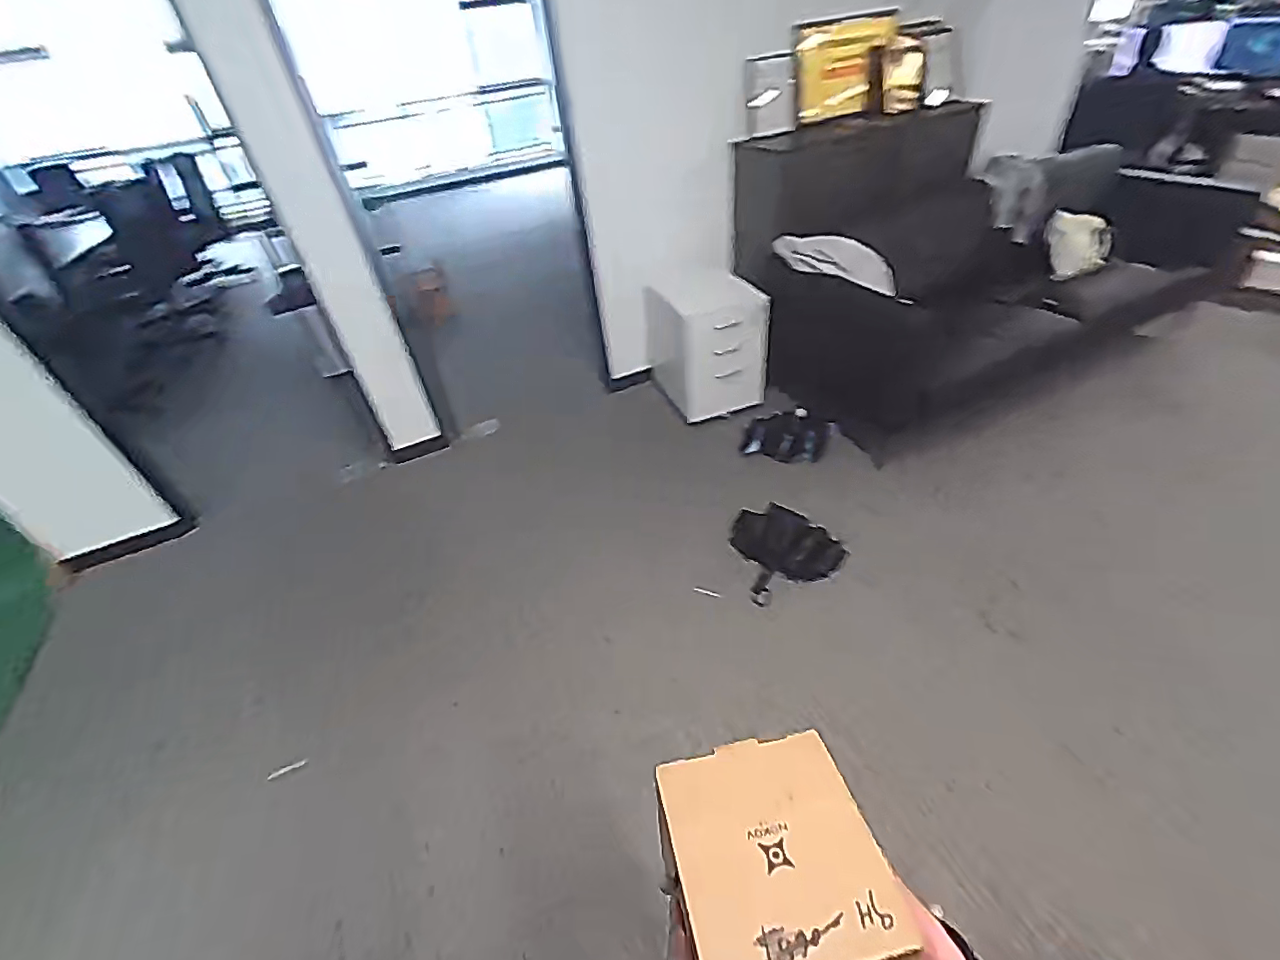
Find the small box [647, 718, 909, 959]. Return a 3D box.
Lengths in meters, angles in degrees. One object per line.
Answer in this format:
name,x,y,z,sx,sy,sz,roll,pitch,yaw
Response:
small box,0.105,0.360,0.498,0.168,0.176,0.179,-10,35,-9
